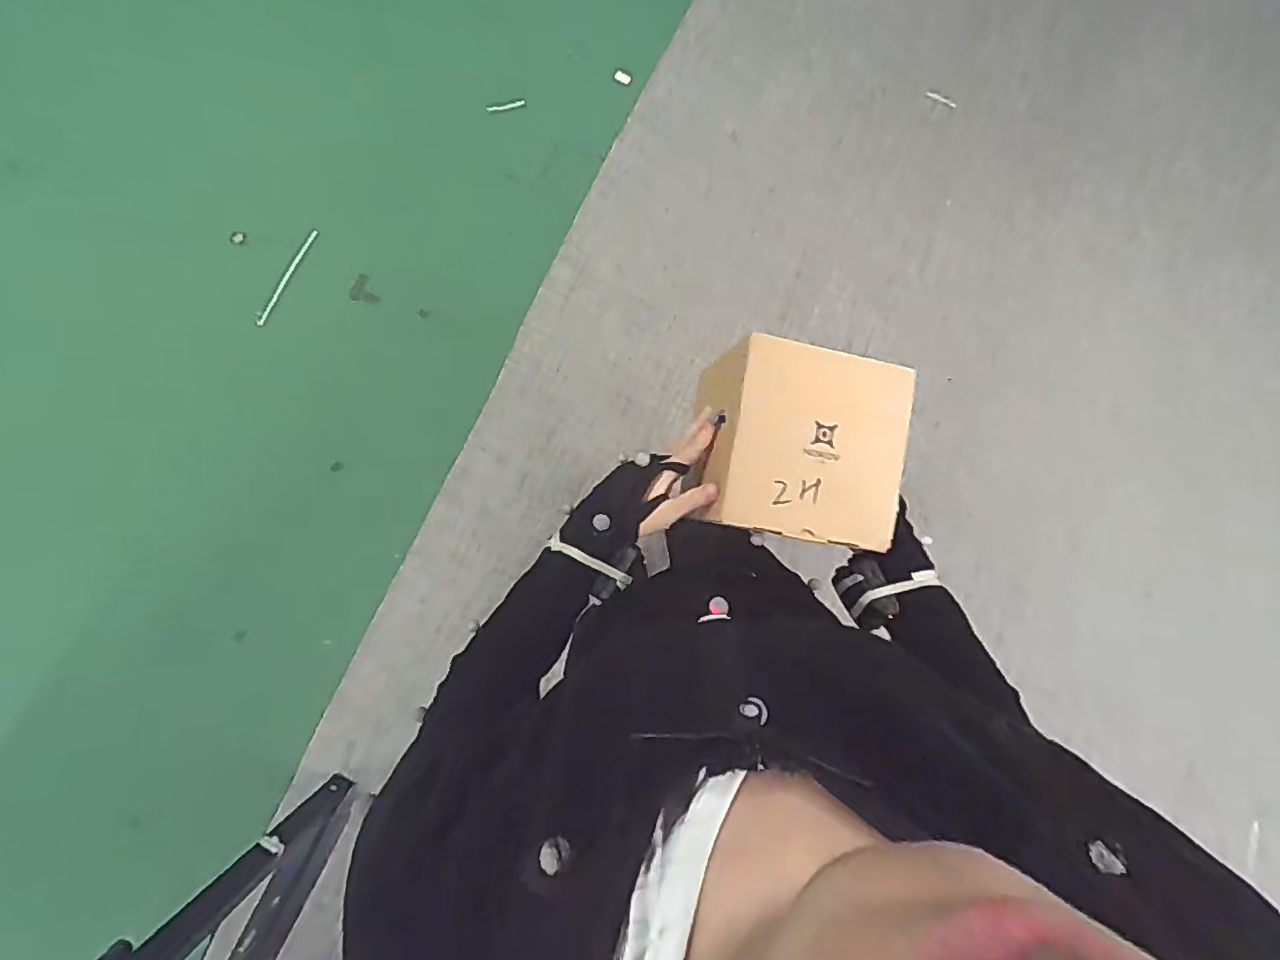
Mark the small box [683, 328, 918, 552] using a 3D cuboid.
[{"bbox_3d":[0.151,-0.032,0.560,0.168,0.176,0.179,11,87,-9],"label":"small box"}]
